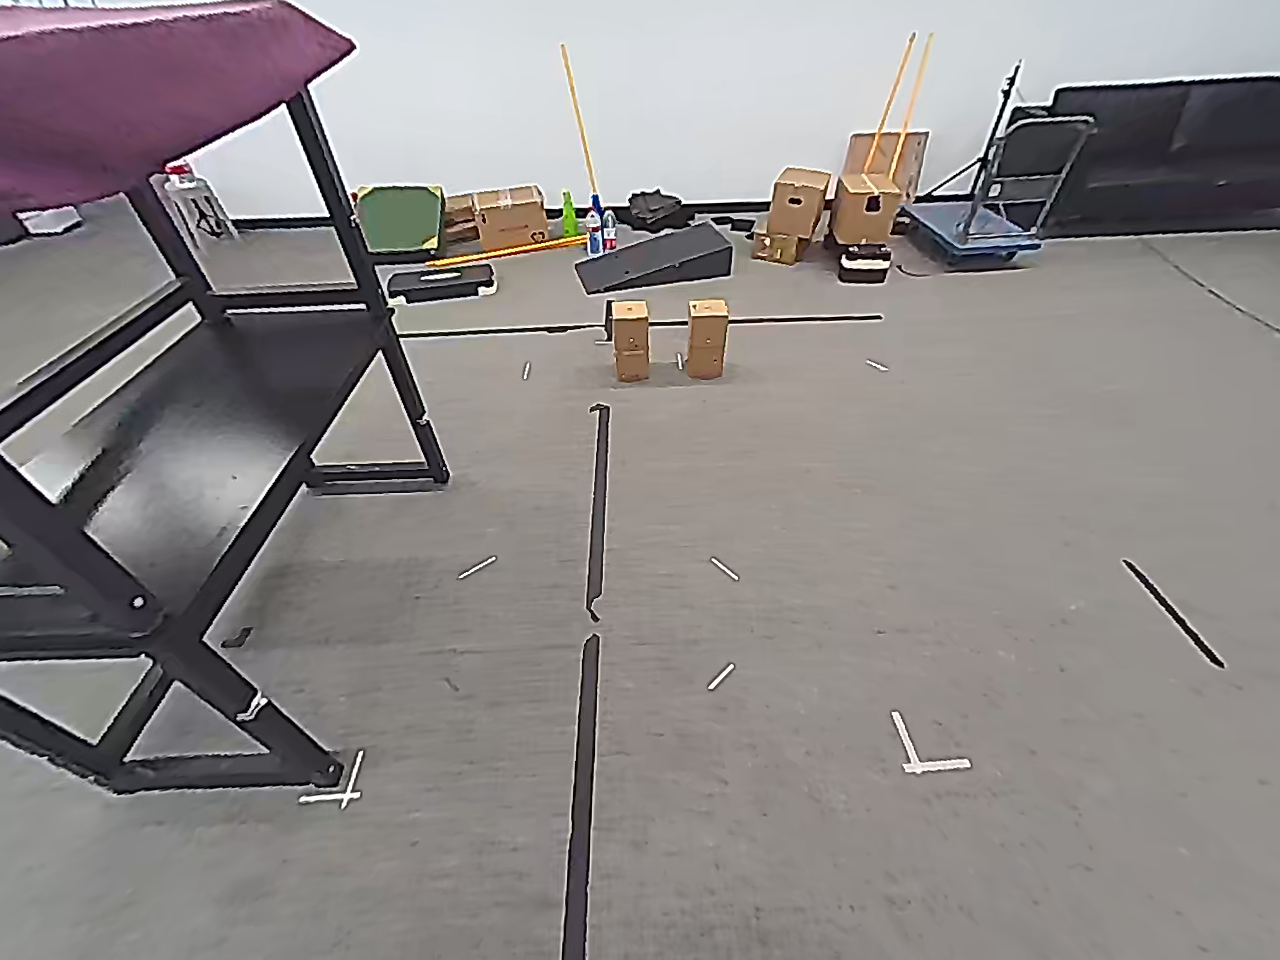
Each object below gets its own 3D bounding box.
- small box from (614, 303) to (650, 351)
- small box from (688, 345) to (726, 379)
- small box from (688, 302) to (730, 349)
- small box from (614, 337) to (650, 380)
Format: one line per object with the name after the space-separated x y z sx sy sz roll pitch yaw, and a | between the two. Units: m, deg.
-0.042 -0.742 2.625 0.168 0.176 0.179 -4 43 -3 | small box
0.335 -0.626 2.738 0.179 0.176 0.168 0 43 2 | small box
0.331 -0.747 2.628 0.179 0.176 0.168 0 42 0 | small box
-0.041 -0.616 2.732 0.168 0.176 0.179 -5 43 -4 | small box
